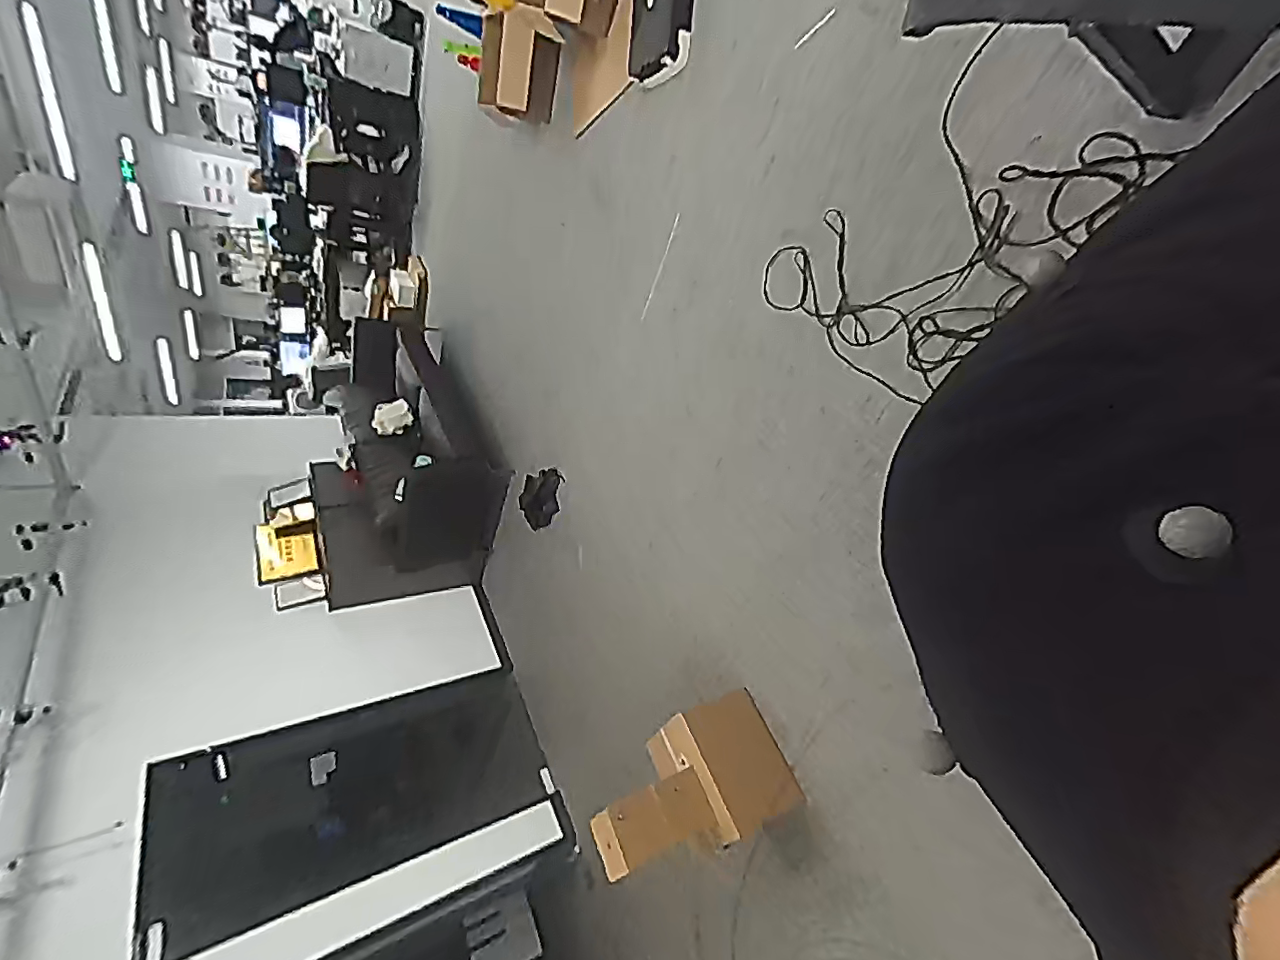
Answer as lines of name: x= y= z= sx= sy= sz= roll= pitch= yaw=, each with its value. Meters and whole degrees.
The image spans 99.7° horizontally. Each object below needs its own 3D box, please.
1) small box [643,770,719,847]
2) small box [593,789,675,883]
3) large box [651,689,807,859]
small box: x=0.120 y=1.065 z=1.747 sx=0.179 sy=0.176 sz=0.168 roll=60 pitch=140 yaw=31
small box: x=-0.017 y=1.091 z=1.662 sx=0.179 sy=0.176 sz=0.168 roll=61 pitch=140 yaw=32
large box: x=0.301 y=1.023 z=1.909 sx=0.408 sy=0.320 sz=0.320 roll=61 pitch=138 yaw=33
